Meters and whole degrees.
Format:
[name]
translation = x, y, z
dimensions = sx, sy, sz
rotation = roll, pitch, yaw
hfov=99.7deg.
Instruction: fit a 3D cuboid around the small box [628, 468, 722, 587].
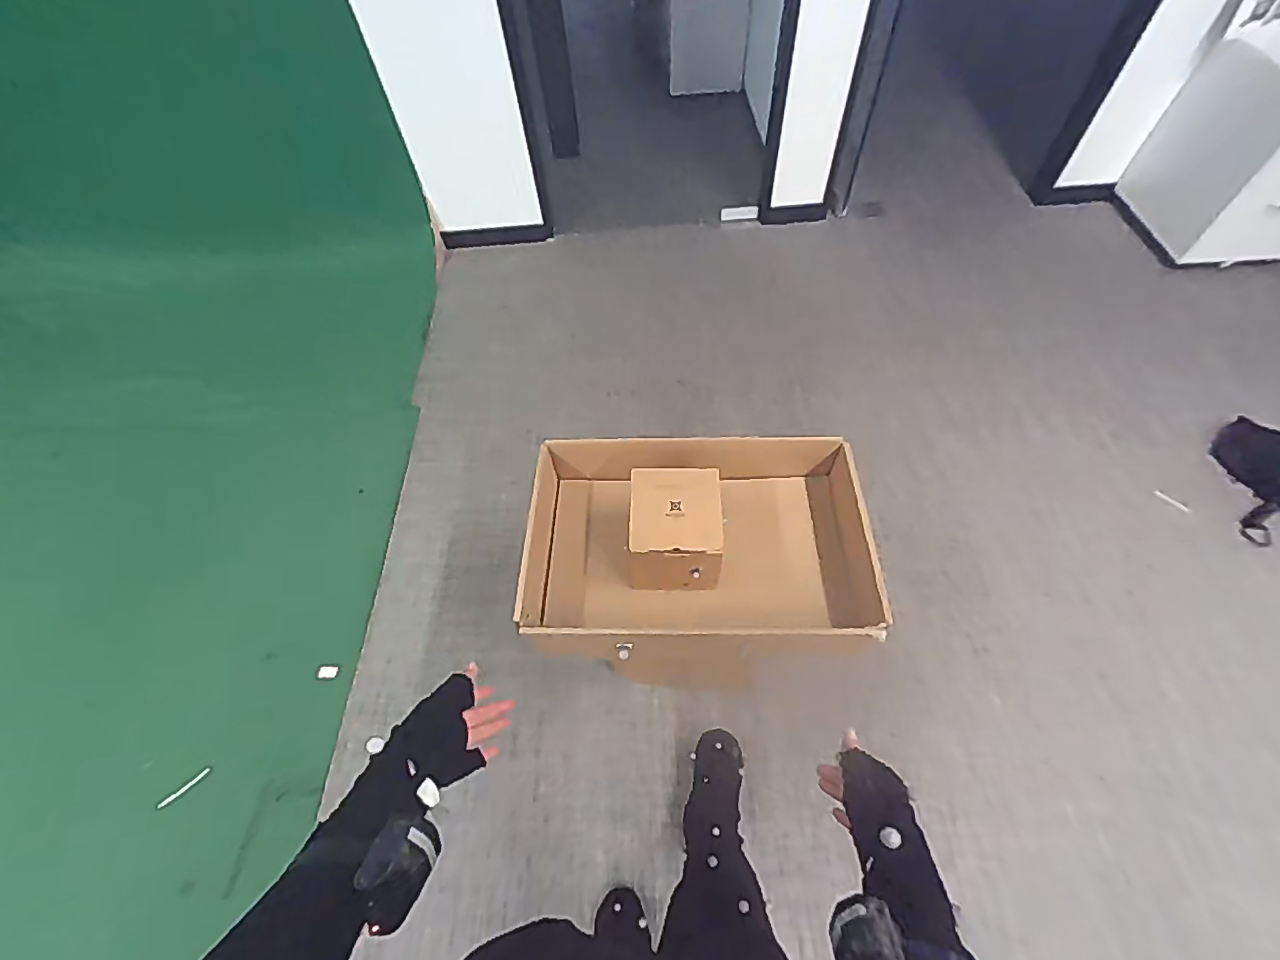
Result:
[small box]
translation = 0.064, 0.095, 1.036
dimensions = 0.168, 0.176, 0.179
rotation = 1, 55, 1
